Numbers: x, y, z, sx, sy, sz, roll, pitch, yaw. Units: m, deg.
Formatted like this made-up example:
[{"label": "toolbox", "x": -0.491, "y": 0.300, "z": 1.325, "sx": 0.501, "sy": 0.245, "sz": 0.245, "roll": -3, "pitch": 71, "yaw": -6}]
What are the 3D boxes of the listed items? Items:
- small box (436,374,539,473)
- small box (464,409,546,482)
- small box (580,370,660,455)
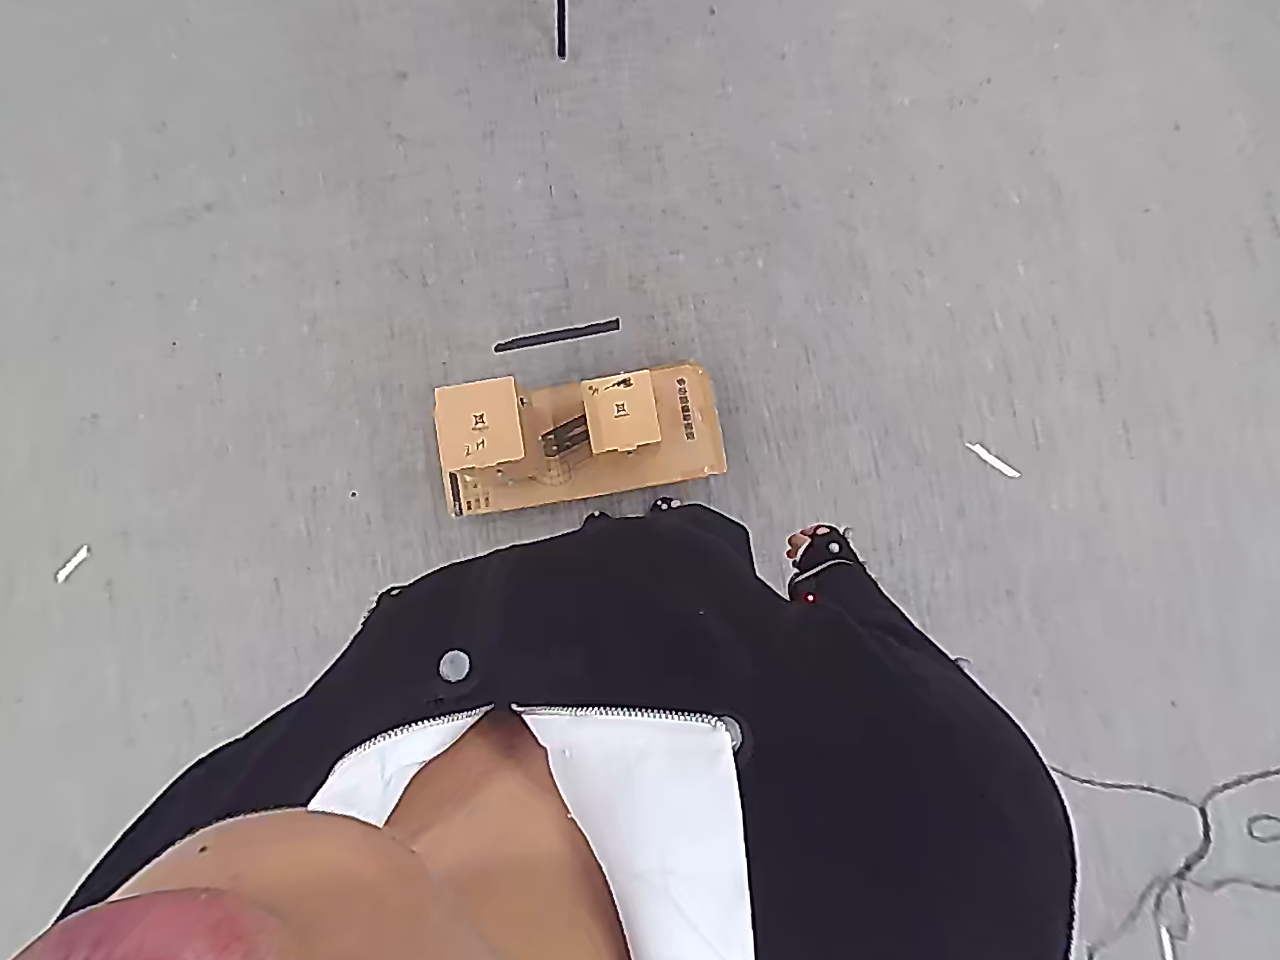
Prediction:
[{"label": "small box", "x": -0.324, "y": -0.116, "z": 1.175, "sx": 0.168, "sy": 0.176, "sz": 0.179, "roll": -9, "pitch": 87, "yaw": 1}, {"label": "small box", "x": -0.339, "y": -0.097, "z": 1.339, "sx": 0.168, "sy": 0.176, "sz": 0.179, "roll": -10, "pitch": 88, "yaw": 0}, {"label": "small box", "x": -0.043, "y": -0.158, "z": 1.337, "sx": 0.168, "sy": 0.176, "sz": 0.179, "roll": -9, "pitch": 87, "yaw": 3}]
